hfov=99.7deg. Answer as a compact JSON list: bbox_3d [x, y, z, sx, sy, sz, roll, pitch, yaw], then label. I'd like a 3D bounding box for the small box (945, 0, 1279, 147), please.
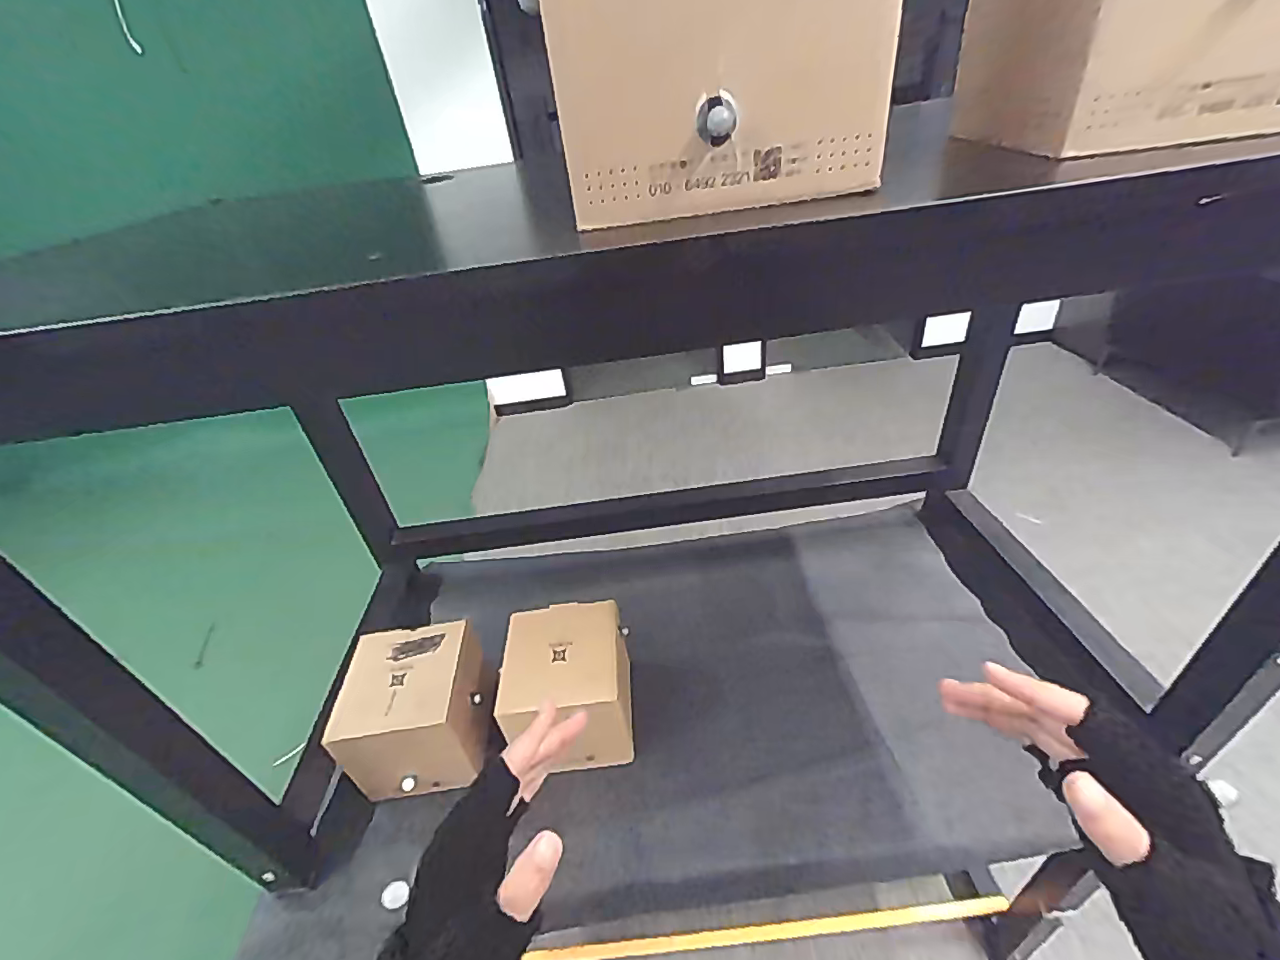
[{"bbox_3d":[0.304,-0.302,0.312,0.168,0.176,0.179,-2,35,8],"label":"small box"}]

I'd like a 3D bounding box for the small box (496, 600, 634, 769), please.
[{"bbox_3d":[-0.102,0.311,0.814,0.168,0.176,0.179,-8,34,1],"label":"small box"}]

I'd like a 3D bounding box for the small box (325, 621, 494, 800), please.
[{"bbox_3d":[-0.327,0.343,0.812,0.168,0.176,0.179,-9,35,-1],"label":"small box"}]
